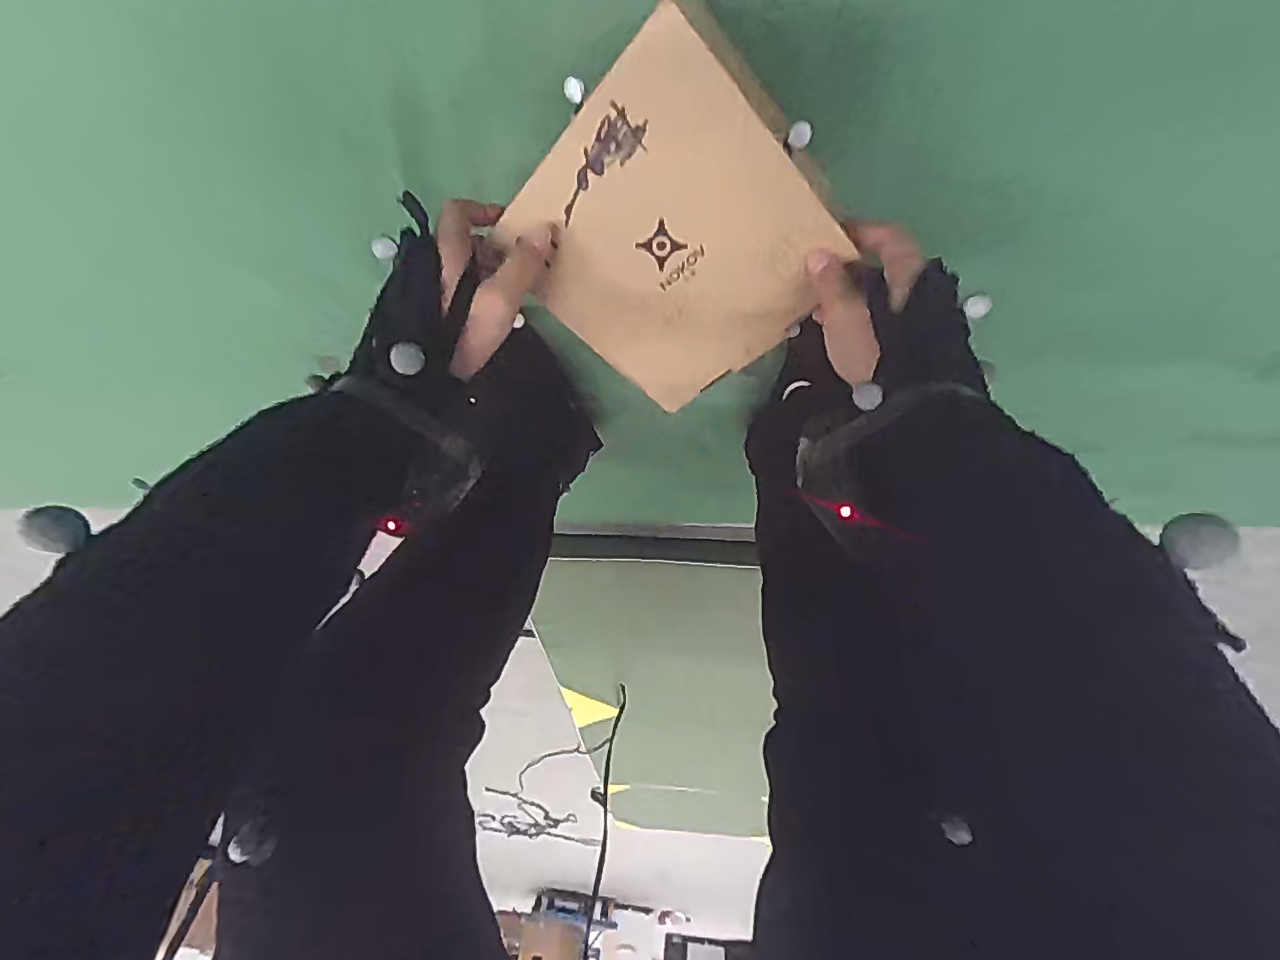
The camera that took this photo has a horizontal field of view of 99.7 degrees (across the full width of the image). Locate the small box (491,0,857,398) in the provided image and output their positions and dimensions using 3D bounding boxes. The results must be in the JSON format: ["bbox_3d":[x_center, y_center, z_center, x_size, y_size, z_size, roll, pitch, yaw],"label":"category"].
[{"bbox_3d":[0.029,-0.201,0.396,0.179,0.176,0.168,38,128,-26],"label":"small box"}]
